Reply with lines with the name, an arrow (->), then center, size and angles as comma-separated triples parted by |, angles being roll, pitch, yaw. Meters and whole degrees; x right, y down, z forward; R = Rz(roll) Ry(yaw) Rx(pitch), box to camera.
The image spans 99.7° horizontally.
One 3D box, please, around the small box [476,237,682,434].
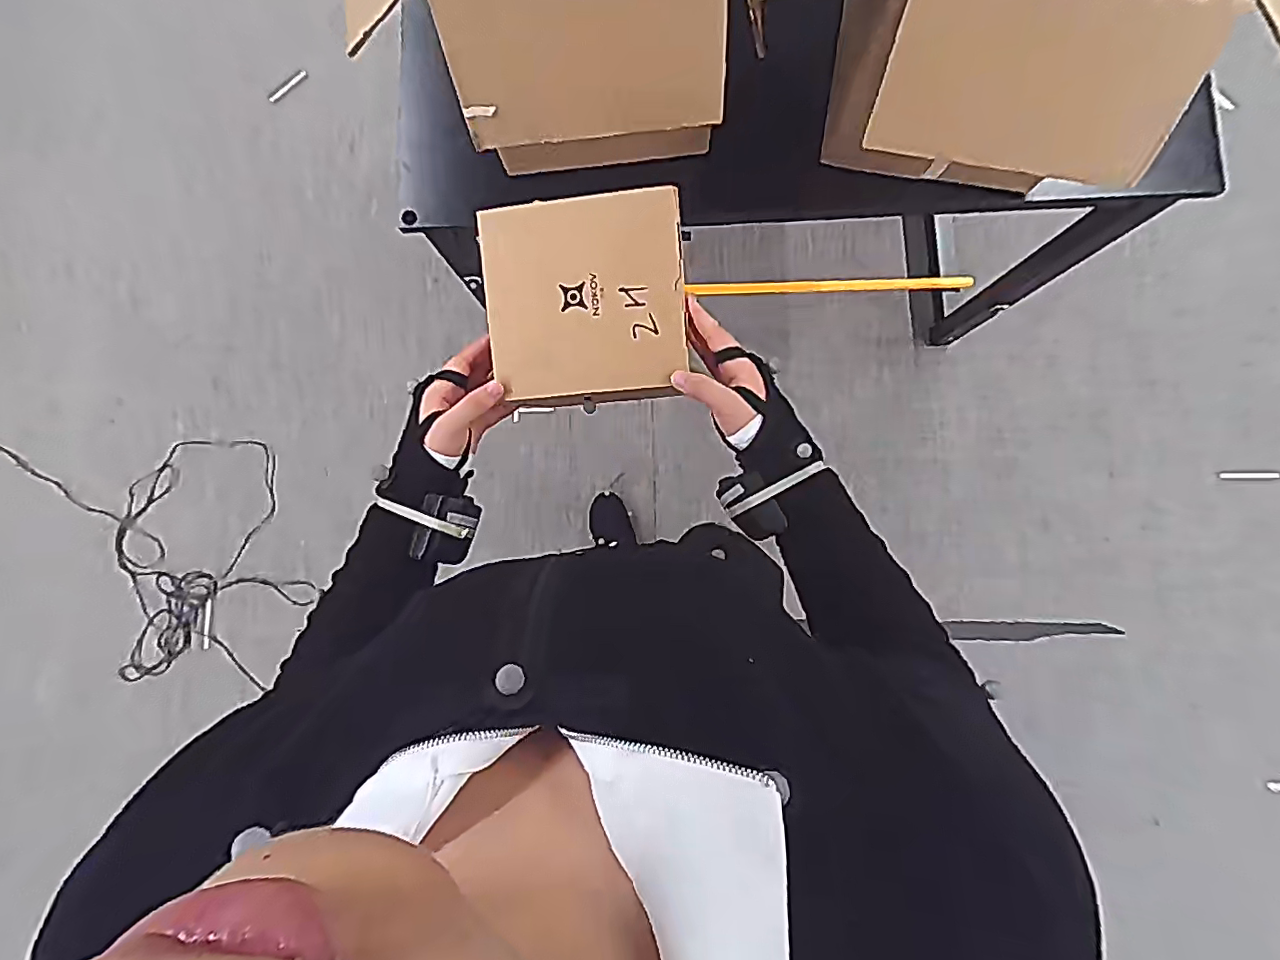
small box -> -0.049, -0.133, 0.562 | 0.179, 0.176, 0.168 | -3, 96, 6
